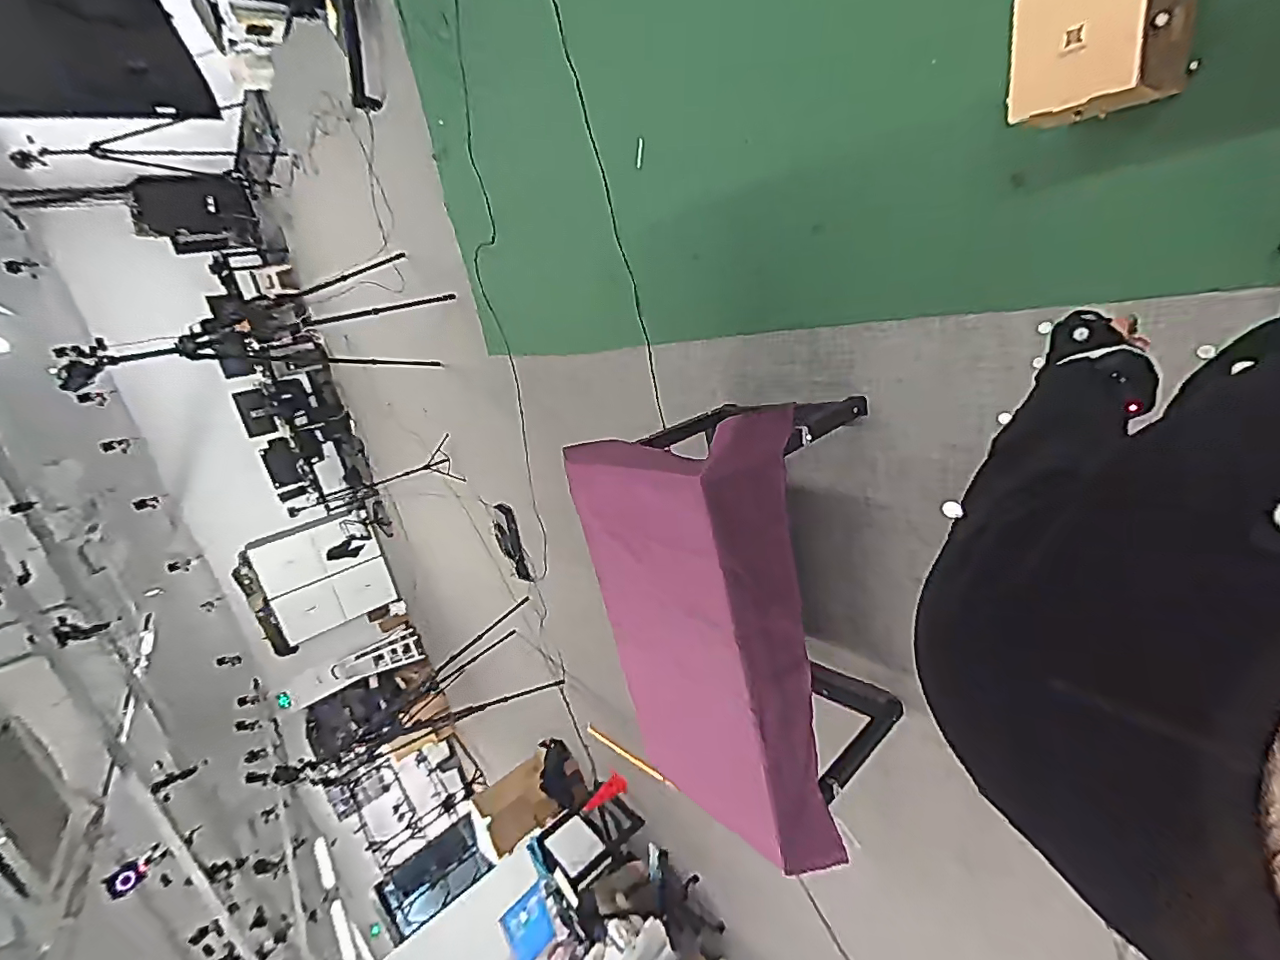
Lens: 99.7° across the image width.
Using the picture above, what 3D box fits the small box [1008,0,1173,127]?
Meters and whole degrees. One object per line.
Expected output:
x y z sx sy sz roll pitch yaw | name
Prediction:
0.719 -0.690 0.866 0.168 0.176 0.179 15 122 50 | small box

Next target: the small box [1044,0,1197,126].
0.842 -0.748 0.956 0.179 0.176 0.168 15 122 50 | small box
